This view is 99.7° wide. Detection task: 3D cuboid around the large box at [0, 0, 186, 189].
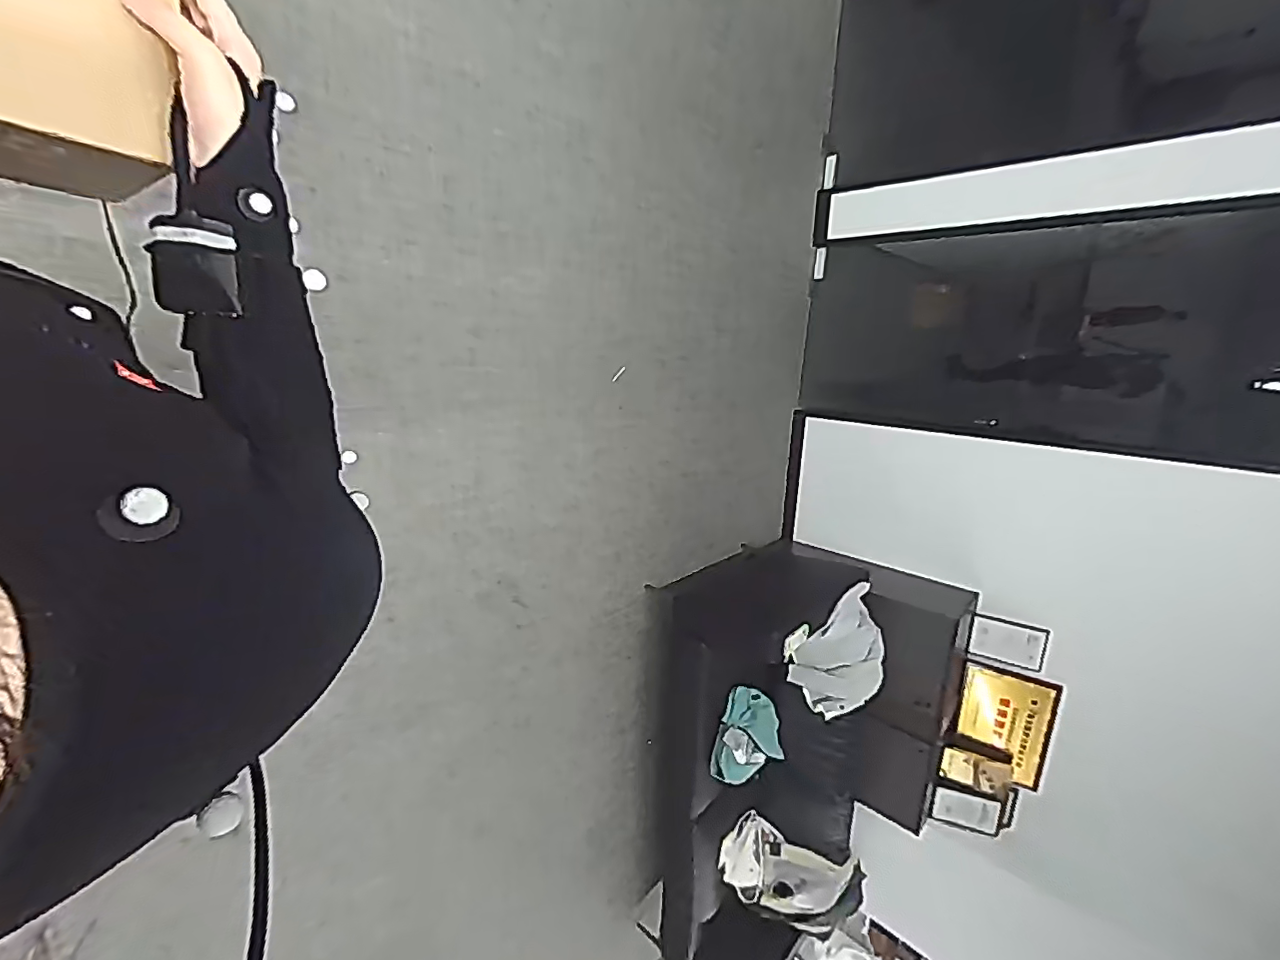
[{"bbox_3d":[-0.553,-0.396,0.298,0.408,0.320,0.320,-8,111,-50],"label":"large box"}]
